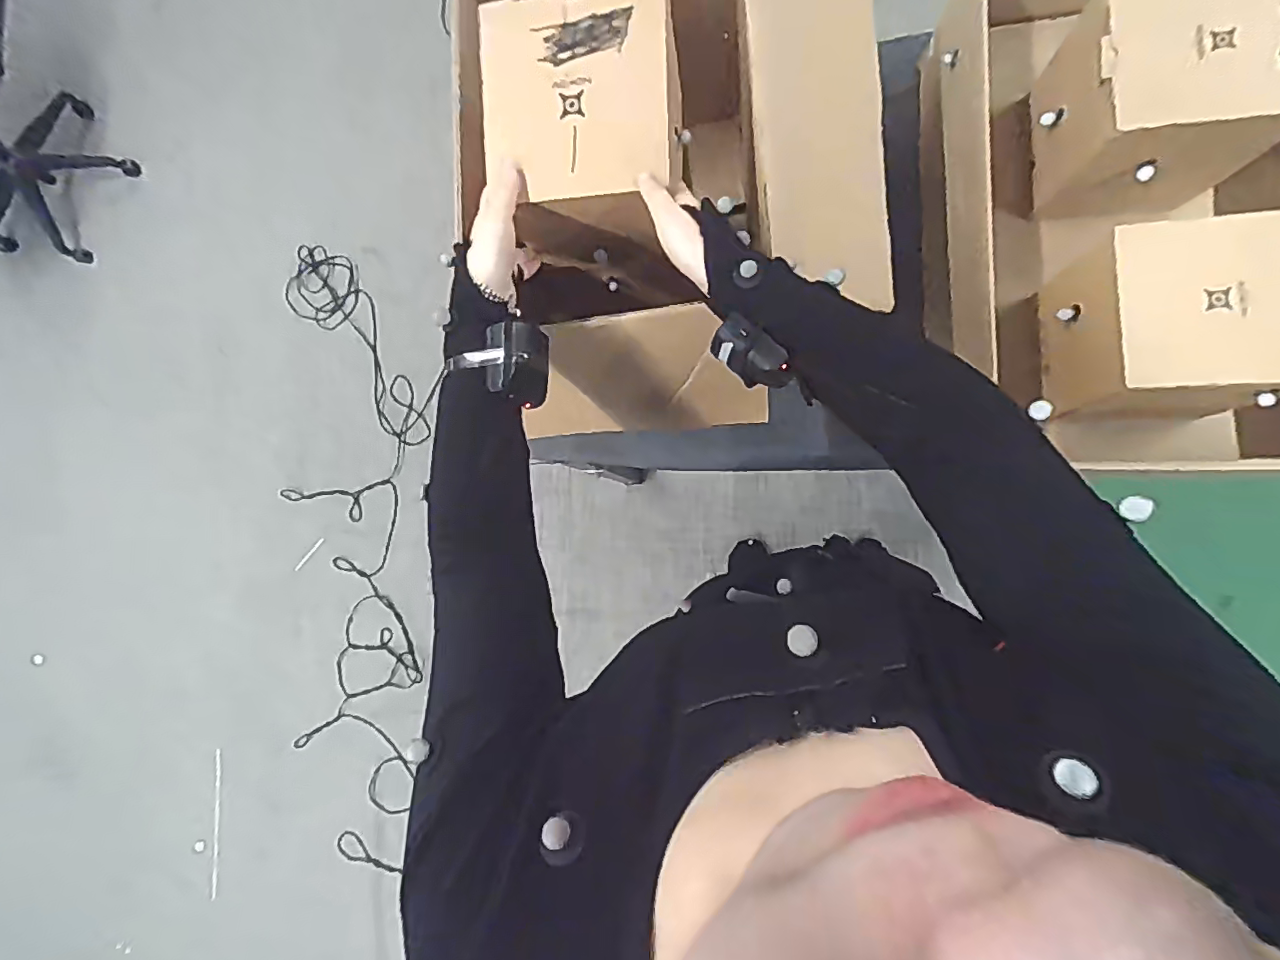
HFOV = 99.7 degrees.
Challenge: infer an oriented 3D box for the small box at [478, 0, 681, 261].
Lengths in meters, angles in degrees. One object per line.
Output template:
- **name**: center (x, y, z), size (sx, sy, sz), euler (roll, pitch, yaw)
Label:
- **small box**: center (-0.048, -0.340, 0.545), size (0.168, 0.176, 0.179), euler (-2, 95, 9)
